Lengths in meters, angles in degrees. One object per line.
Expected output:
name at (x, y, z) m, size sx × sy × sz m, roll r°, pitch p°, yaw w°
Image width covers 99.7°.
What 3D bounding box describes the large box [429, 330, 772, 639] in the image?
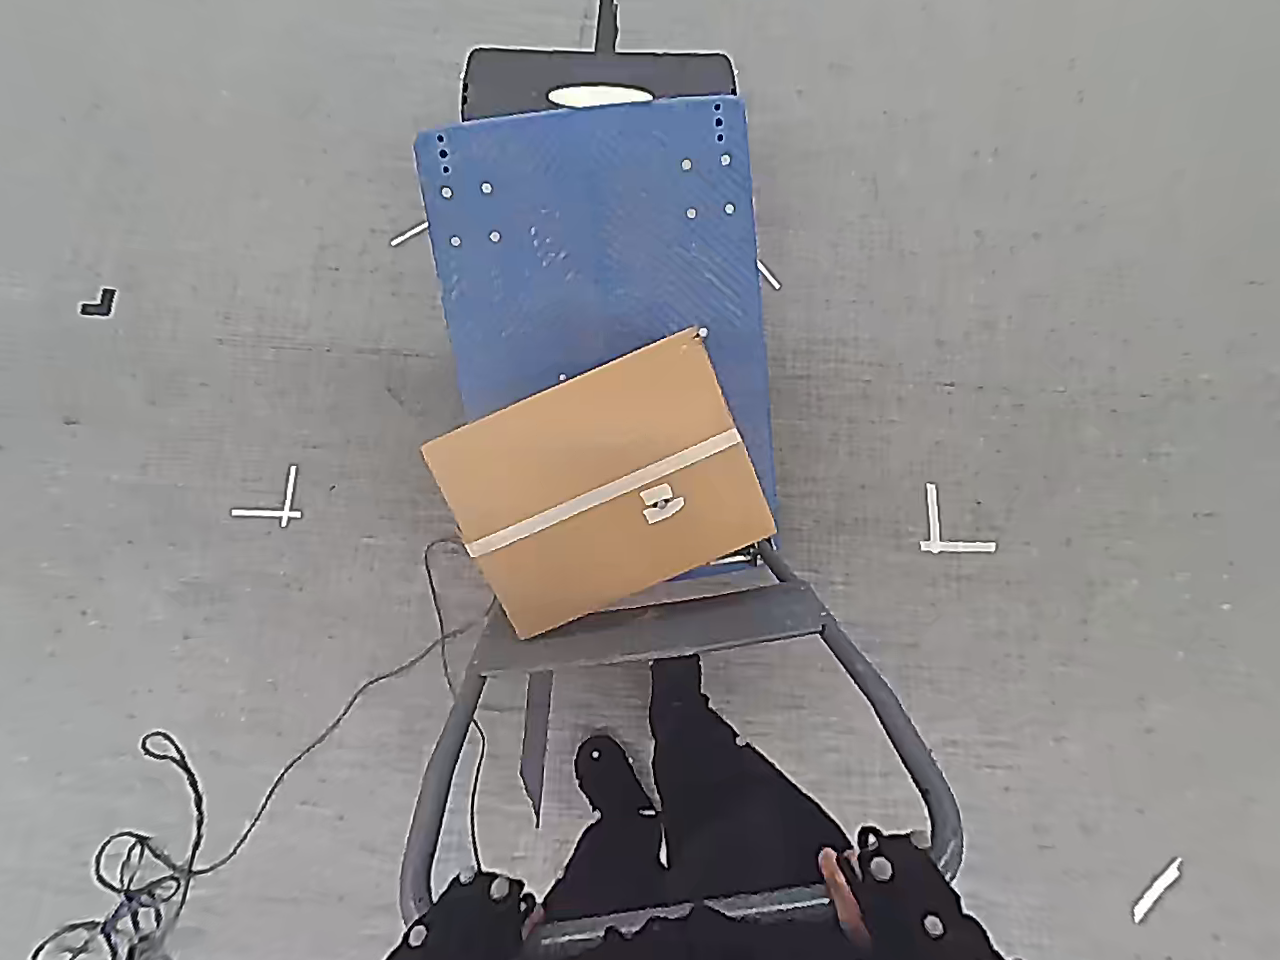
large box at (-0.059, -0.008, 0.898) m, size 0.408 × 0.320 × 0.320 m, roll -24°, pitch 101°, yaw 0°
